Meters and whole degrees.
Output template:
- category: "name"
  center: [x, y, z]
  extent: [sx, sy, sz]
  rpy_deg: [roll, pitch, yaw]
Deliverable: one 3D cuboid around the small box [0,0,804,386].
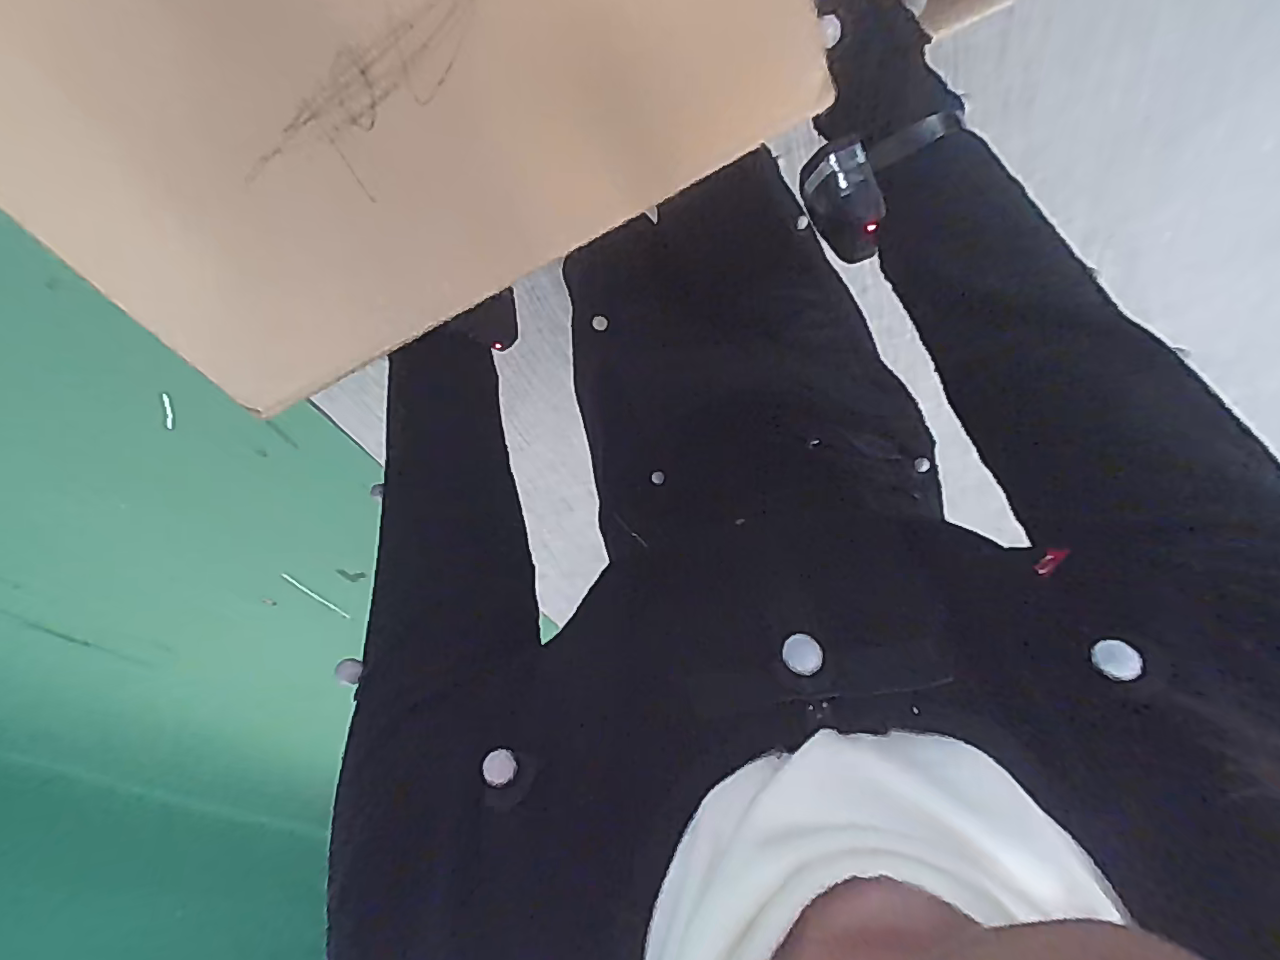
- category: "small box"
  center: [-0.076, -0.163, 0.139]
  extent: [0.168, 0.176, 0.179]
  rpy_deg: [-19, 130, 20]
